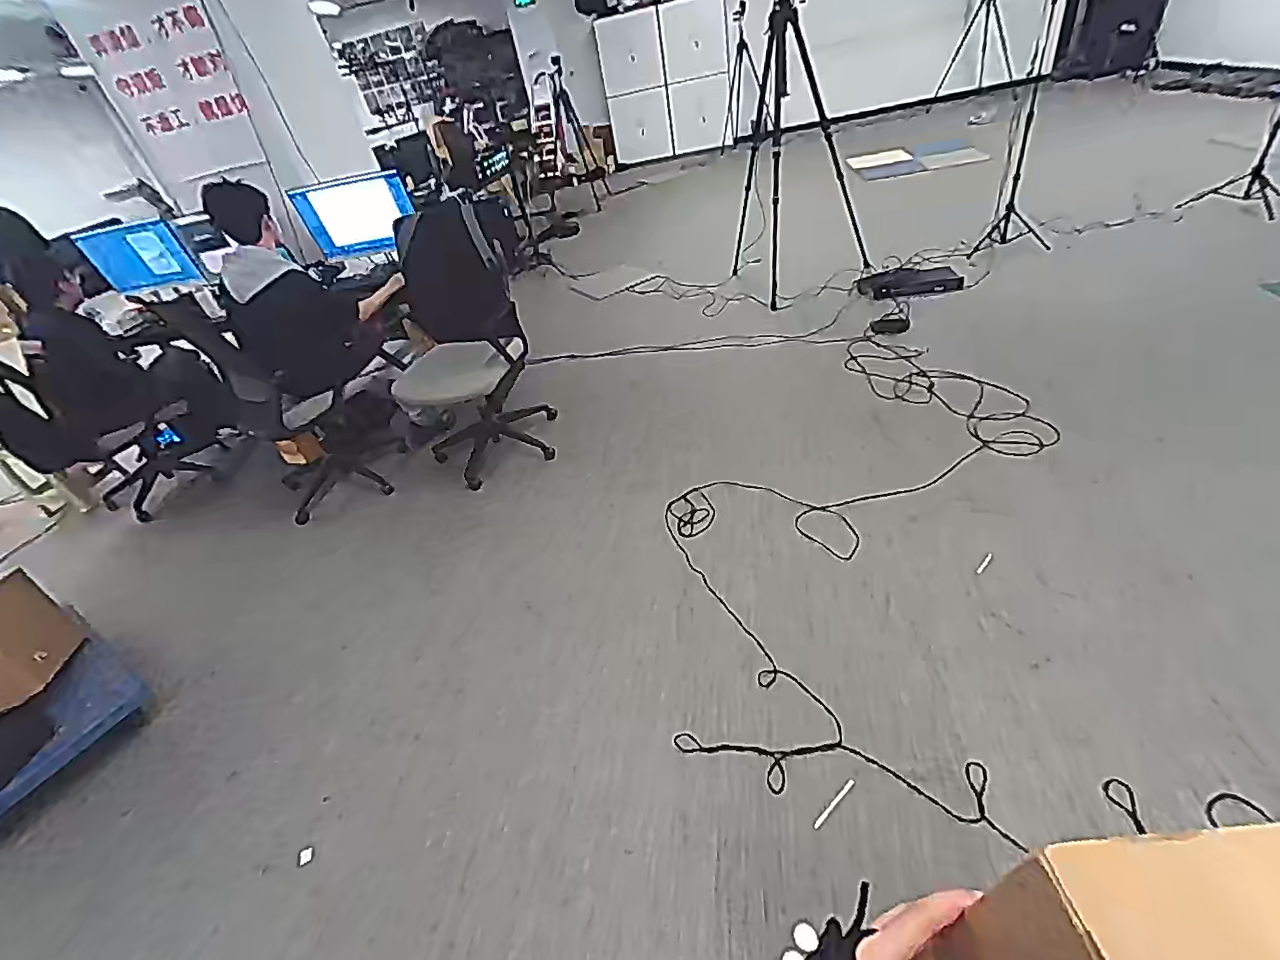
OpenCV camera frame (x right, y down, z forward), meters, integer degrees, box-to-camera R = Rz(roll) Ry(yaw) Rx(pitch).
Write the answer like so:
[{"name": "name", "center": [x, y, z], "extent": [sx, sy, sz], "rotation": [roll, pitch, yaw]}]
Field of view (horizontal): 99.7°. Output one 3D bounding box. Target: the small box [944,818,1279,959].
[{"name": "small box", "center": [0.268, 0.279, 0.243], "extent": [0.179, 0.176, 0.168], "rotation": [-3, 38, -1]}]
